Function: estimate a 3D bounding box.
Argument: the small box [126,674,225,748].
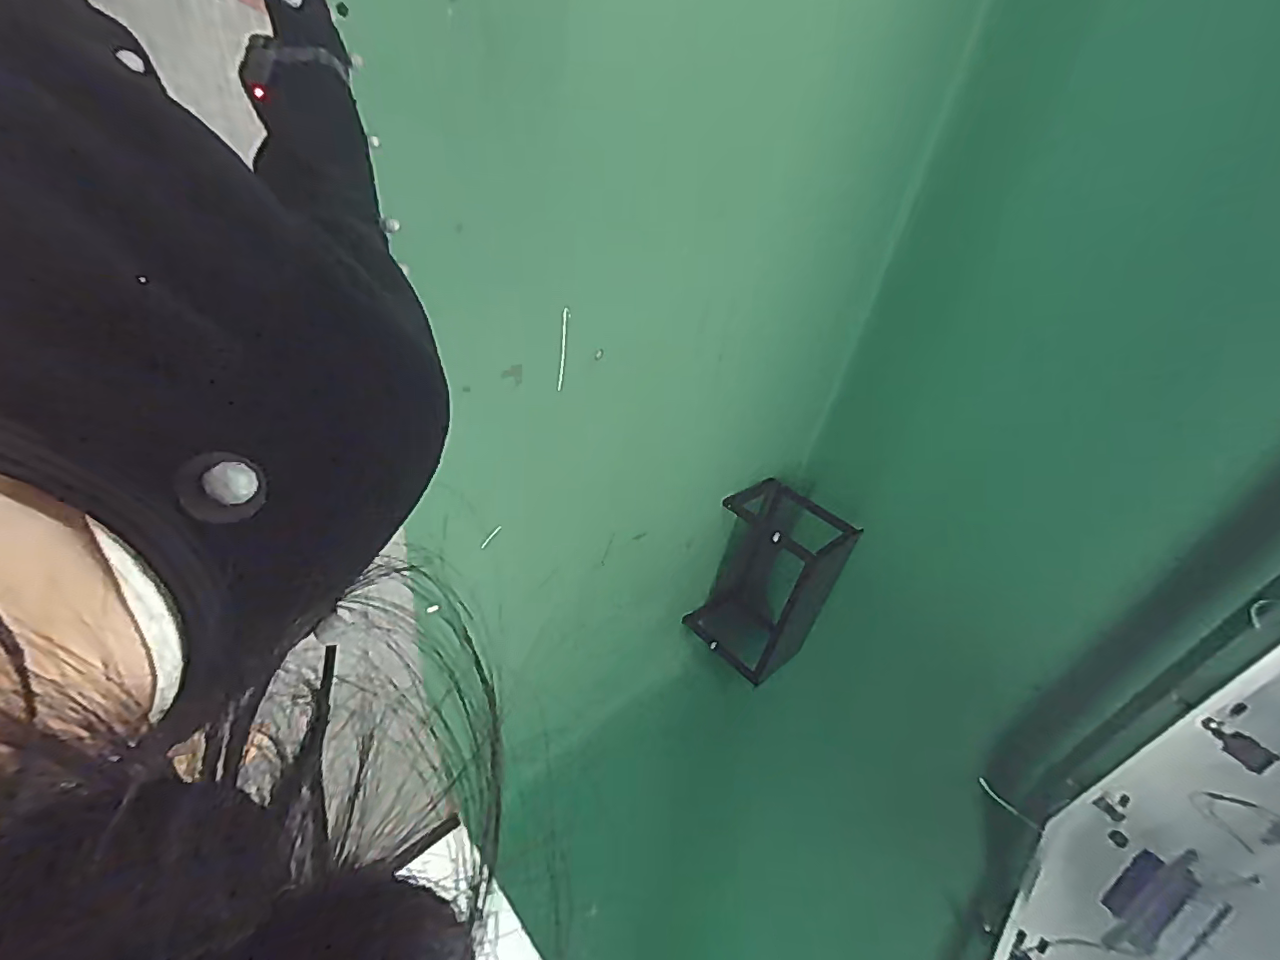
[{"bbox_3d":[-1.366,0.703,1.589,0.168,0.176,0.179,-25,139,-37],"label":"small box"}]

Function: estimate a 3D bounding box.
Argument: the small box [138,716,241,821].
[{"bbox_3d":[-1.254,0.792,1.506,0.168,0.176,0.179,-24,139,-36],"label":"small box"}]
